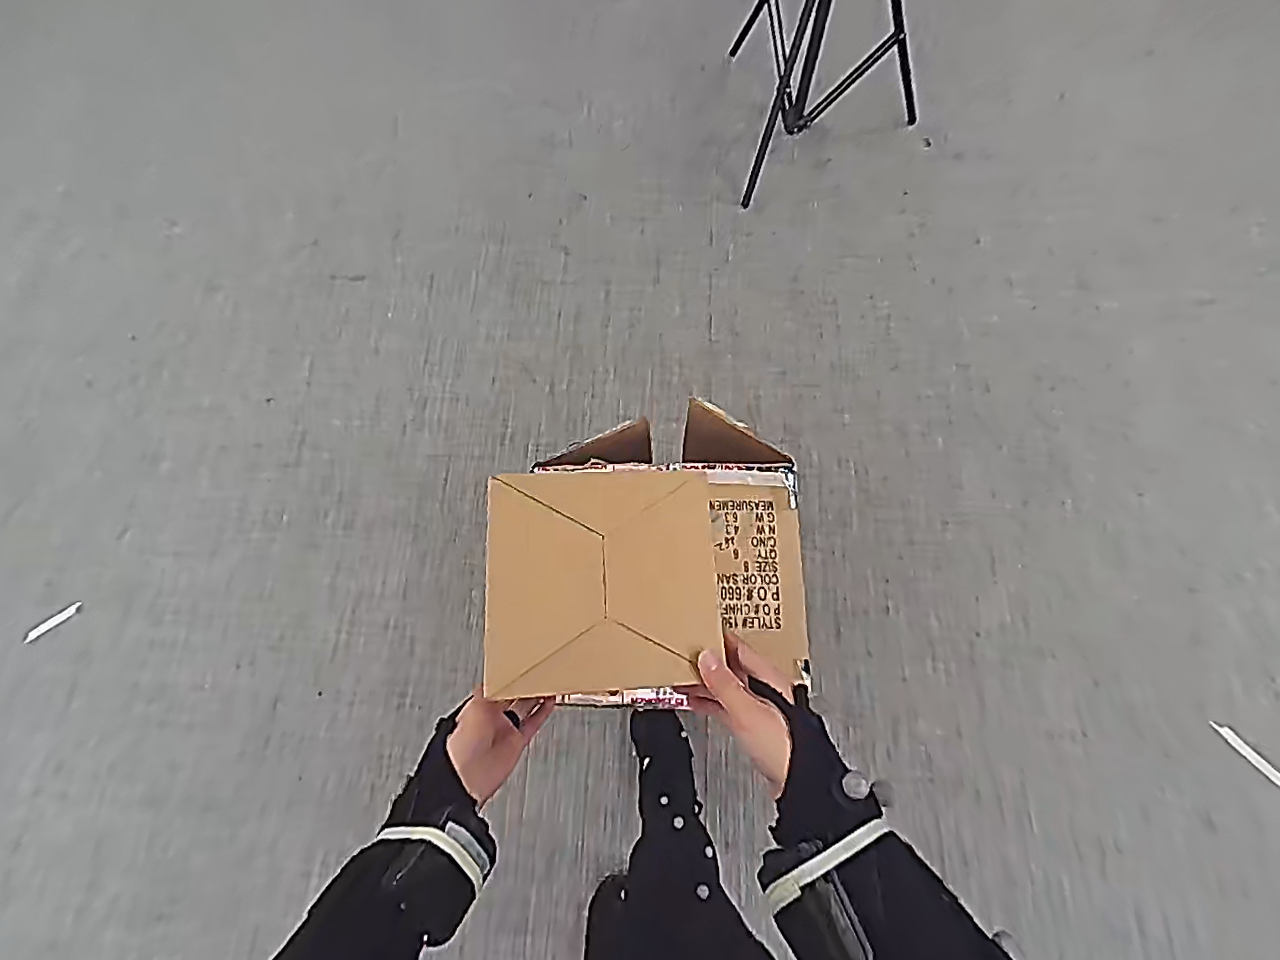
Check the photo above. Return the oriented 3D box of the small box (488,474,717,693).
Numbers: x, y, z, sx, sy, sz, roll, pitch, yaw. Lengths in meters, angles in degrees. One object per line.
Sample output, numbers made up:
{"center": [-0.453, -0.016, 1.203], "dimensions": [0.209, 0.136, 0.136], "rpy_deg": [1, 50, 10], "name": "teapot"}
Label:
{"center": [-0.038, 0.097, 0.495], "dimensions": [0.179, 0.176, 0.168], "rpy_deg": [-1, 73, -9], "name": "small box"}
